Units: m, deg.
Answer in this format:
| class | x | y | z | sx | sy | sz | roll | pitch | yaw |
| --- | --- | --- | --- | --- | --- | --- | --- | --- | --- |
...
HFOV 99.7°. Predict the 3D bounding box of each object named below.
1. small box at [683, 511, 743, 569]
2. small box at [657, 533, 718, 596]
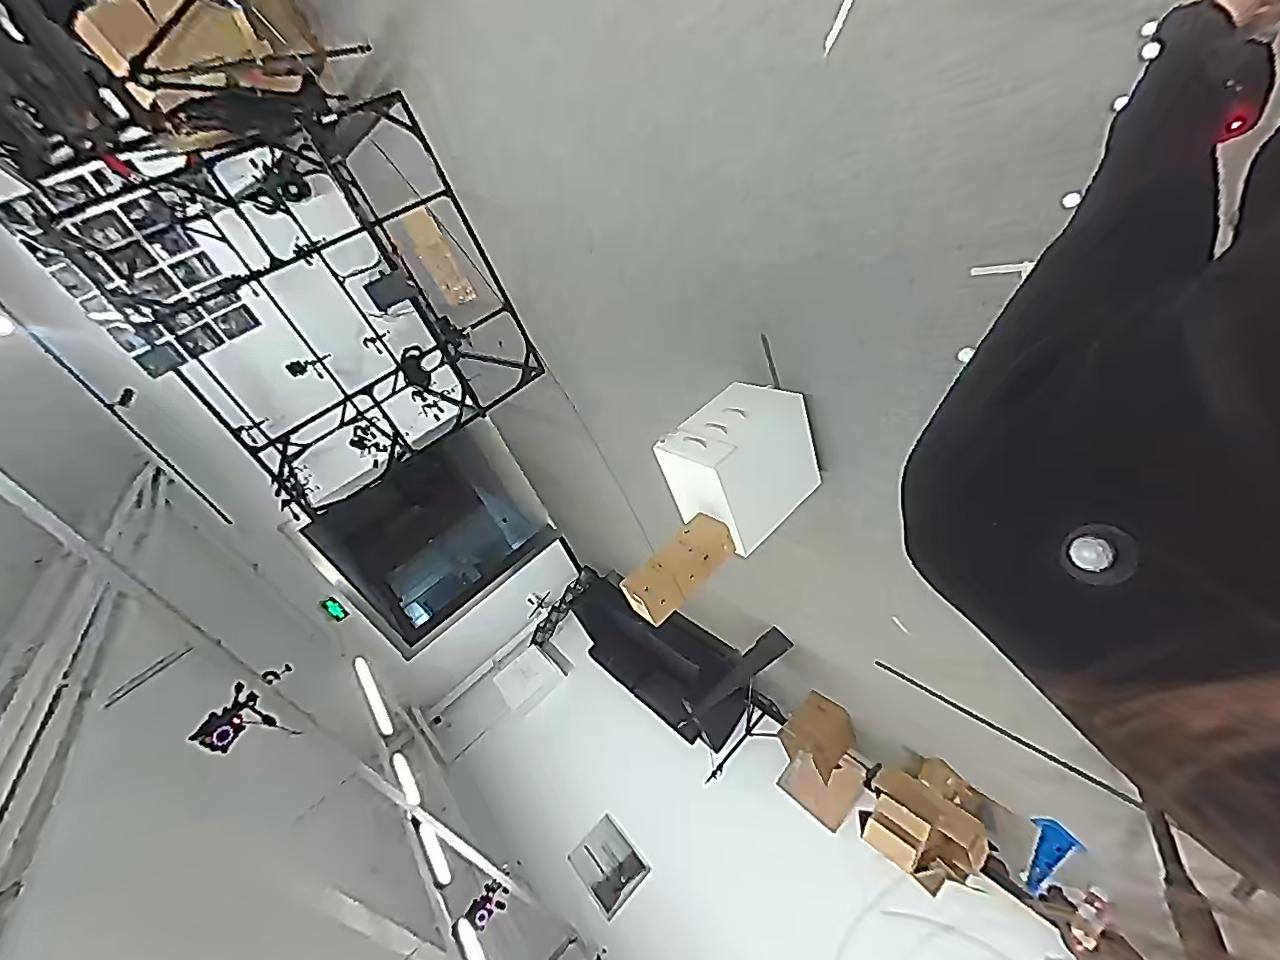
| class | x | y | z | sx | sy | sz | roll | pitch | yaw |
| --- | --- | --- | --- | --- | --- | --- | --- | --- | --- |
| small box | 0.324 | 0.259 | 2.395 | 0.179 | 0.176 | 0.168 | 24 | 147 | 51 |
| small box | 0.208 | 0.359 | 2.334 | 0.168 | 0.176 | 0.179 | 26 | 149 | 50 |
